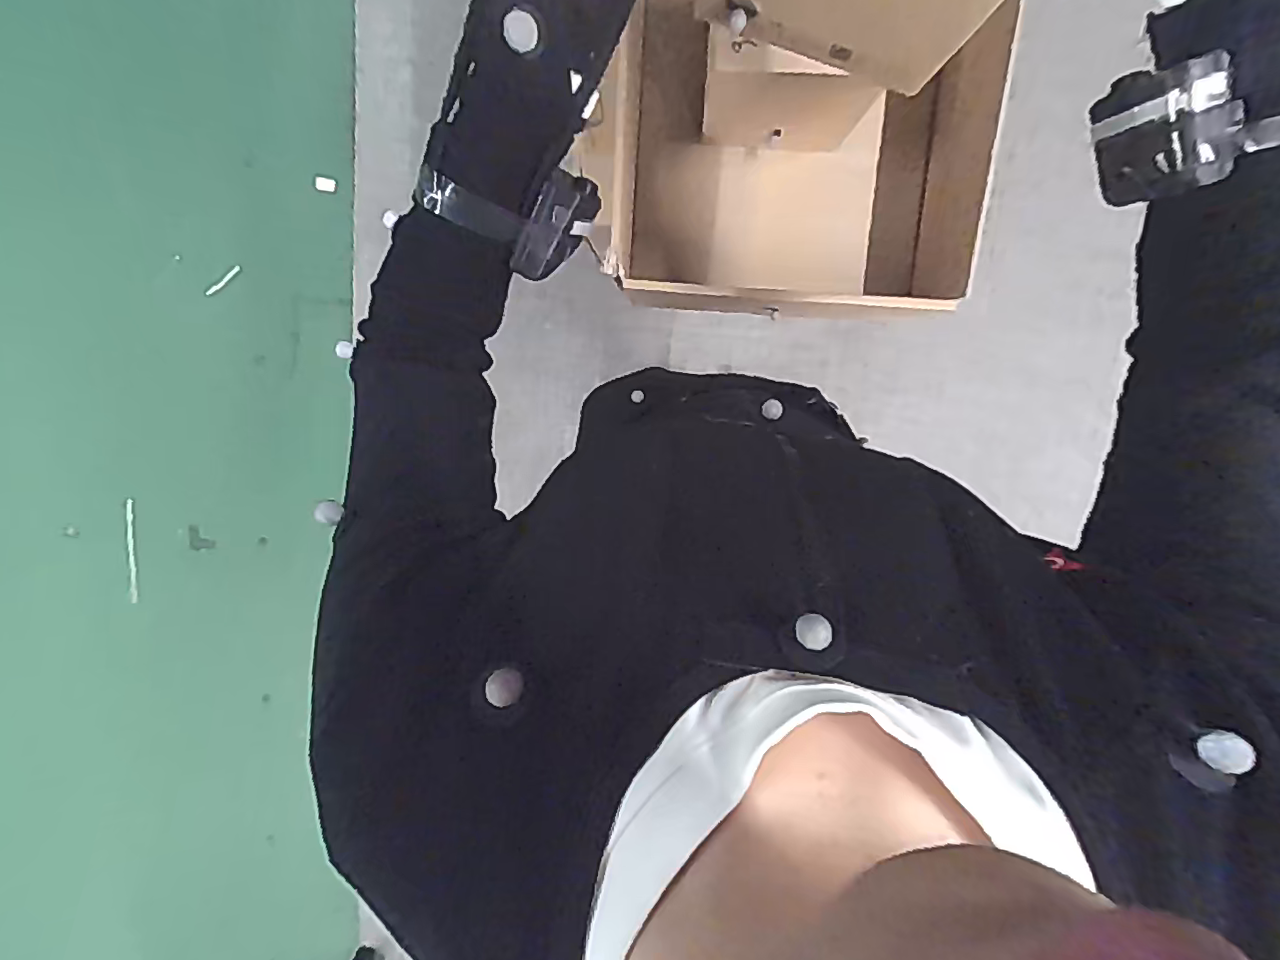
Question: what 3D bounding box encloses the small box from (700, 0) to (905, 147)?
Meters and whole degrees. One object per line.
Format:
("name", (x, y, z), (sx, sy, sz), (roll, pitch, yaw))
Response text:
("small box", (0.167, -0.489, 0.588), (0.179, 0.176, 0.168), (4, 99, 0))
